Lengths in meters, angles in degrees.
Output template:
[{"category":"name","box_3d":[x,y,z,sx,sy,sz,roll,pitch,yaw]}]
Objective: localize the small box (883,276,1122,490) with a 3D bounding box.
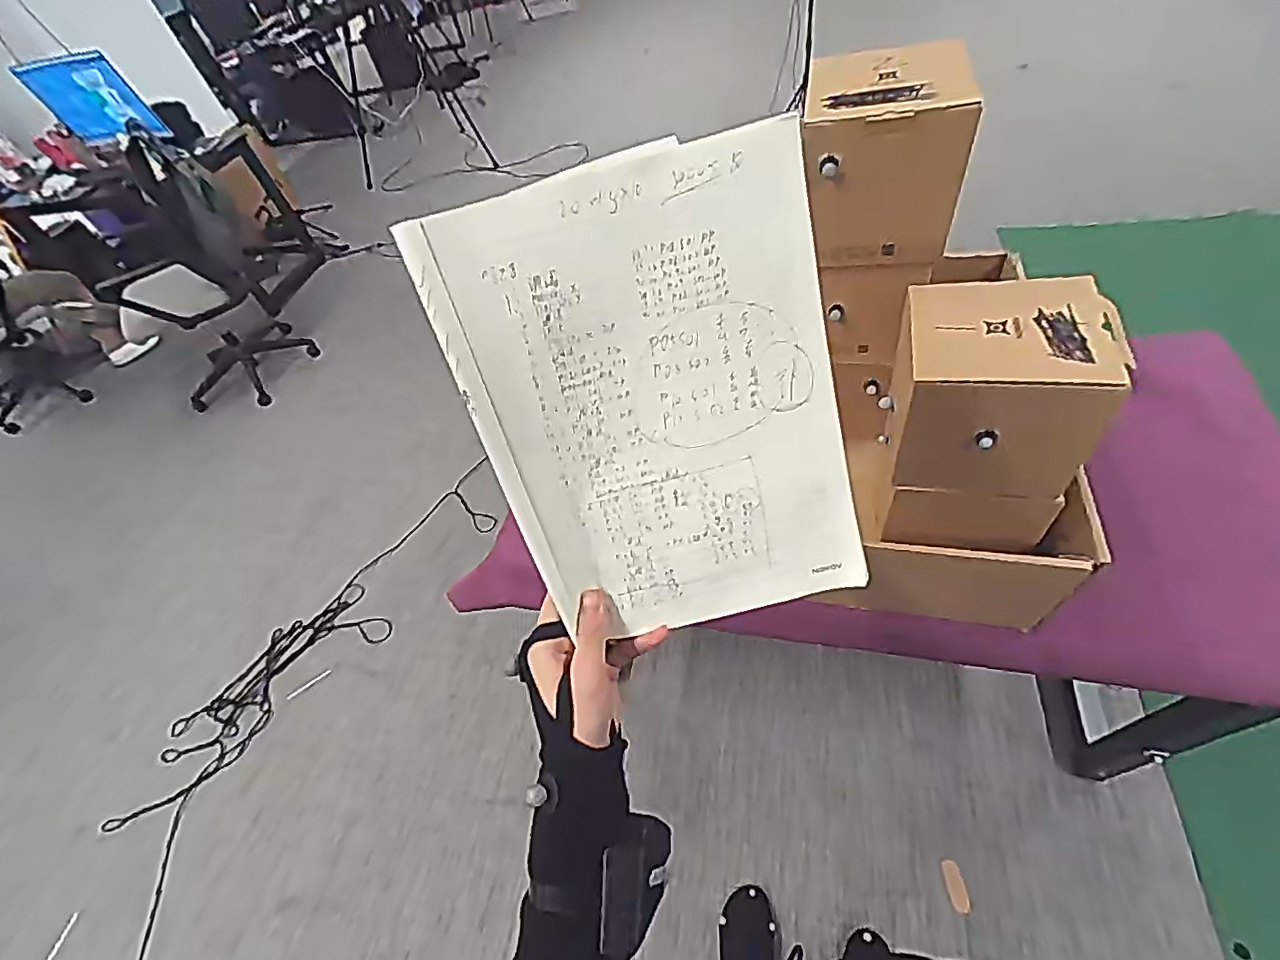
[{"category":"small box","box_3d":[0.379,-0.105,0.605,0.179,0.176,0.168,4,52,20]}]

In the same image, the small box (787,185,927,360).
[{"category":"small box","box_3d":[0.305,-0.290,0.777,0.168,0.176,0.179,6,56,17]}]
